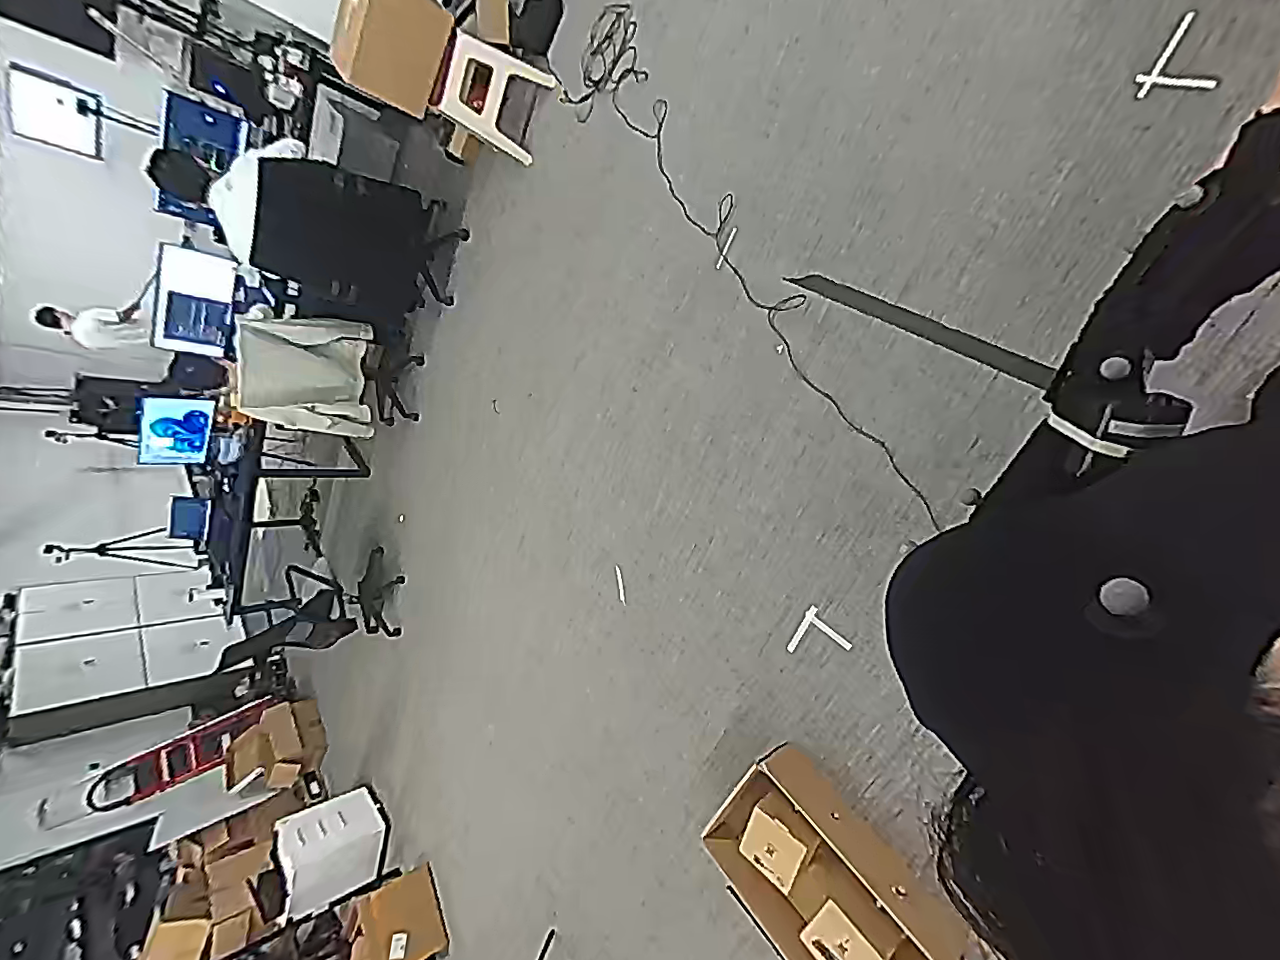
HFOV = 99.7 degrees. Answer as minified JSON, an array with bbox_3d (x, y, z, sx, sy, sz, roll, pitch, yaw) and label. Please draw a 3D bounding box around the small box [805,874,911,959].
[{"bbox_3d":[0.572,1.192,1.411,0.168,0.176,0.179,39,116,37],"label":"small box"}]
